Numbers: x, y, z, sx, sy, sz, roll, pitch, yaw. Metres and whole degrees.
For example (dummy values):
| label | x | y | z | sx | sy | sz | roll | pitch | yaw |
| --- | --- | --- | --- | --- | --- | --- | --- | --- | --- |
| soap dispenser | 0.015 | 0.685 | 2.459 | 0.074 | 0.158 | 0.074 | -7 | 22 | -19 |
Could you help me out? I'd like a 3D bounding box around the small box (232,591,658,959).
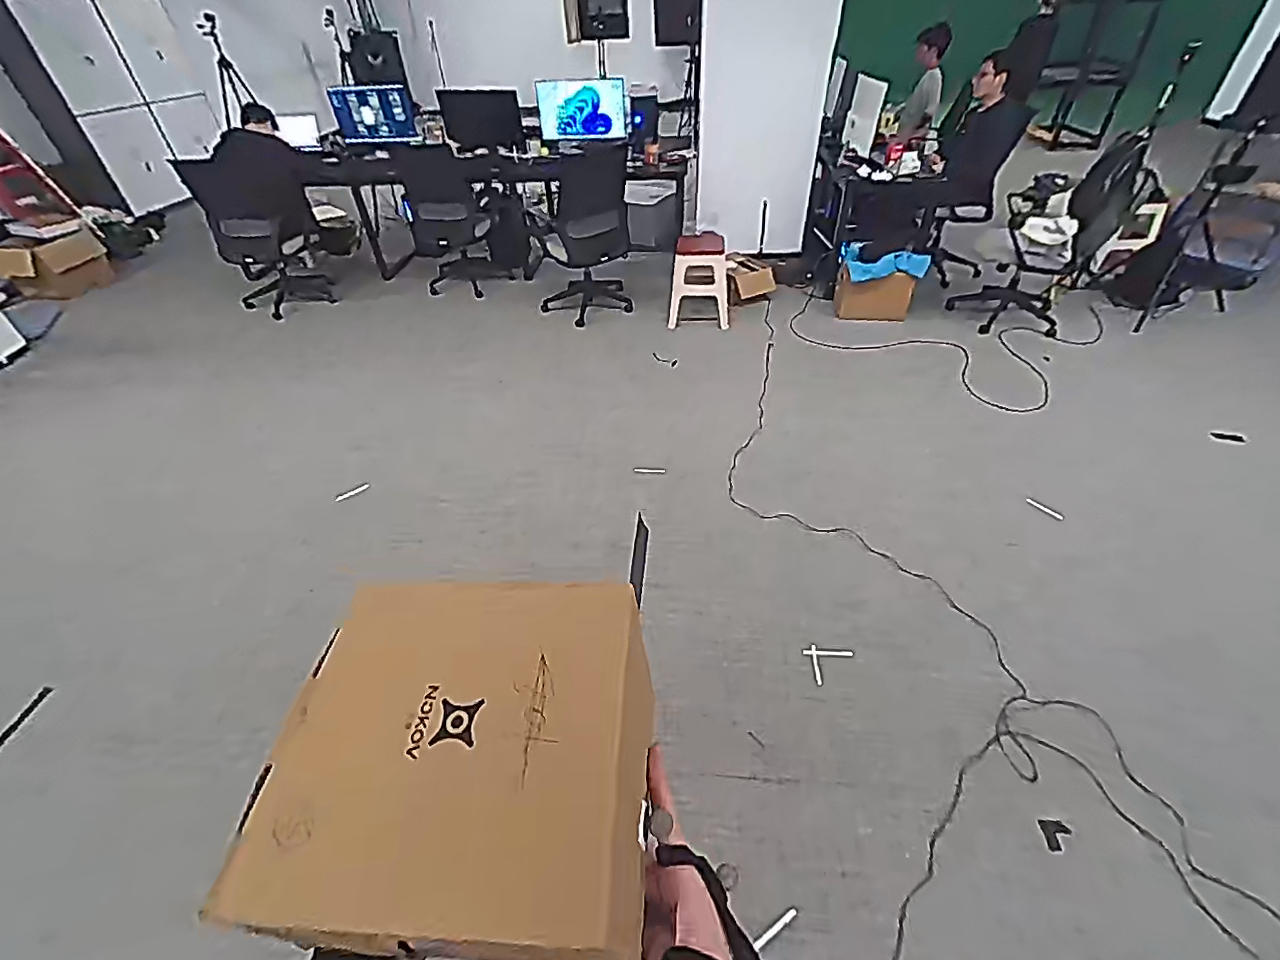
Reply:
| label | x | y | z | sx | sy | sz | roll | pitch | yaw |
| --- | --- | --- | --- | --- | --- | --- | --- | --- | --- |
| small box | -0.084 | 0.186 | 0.339 | 0.179 | 0.176 | 0.168 | -2 | 46 | 5 |
